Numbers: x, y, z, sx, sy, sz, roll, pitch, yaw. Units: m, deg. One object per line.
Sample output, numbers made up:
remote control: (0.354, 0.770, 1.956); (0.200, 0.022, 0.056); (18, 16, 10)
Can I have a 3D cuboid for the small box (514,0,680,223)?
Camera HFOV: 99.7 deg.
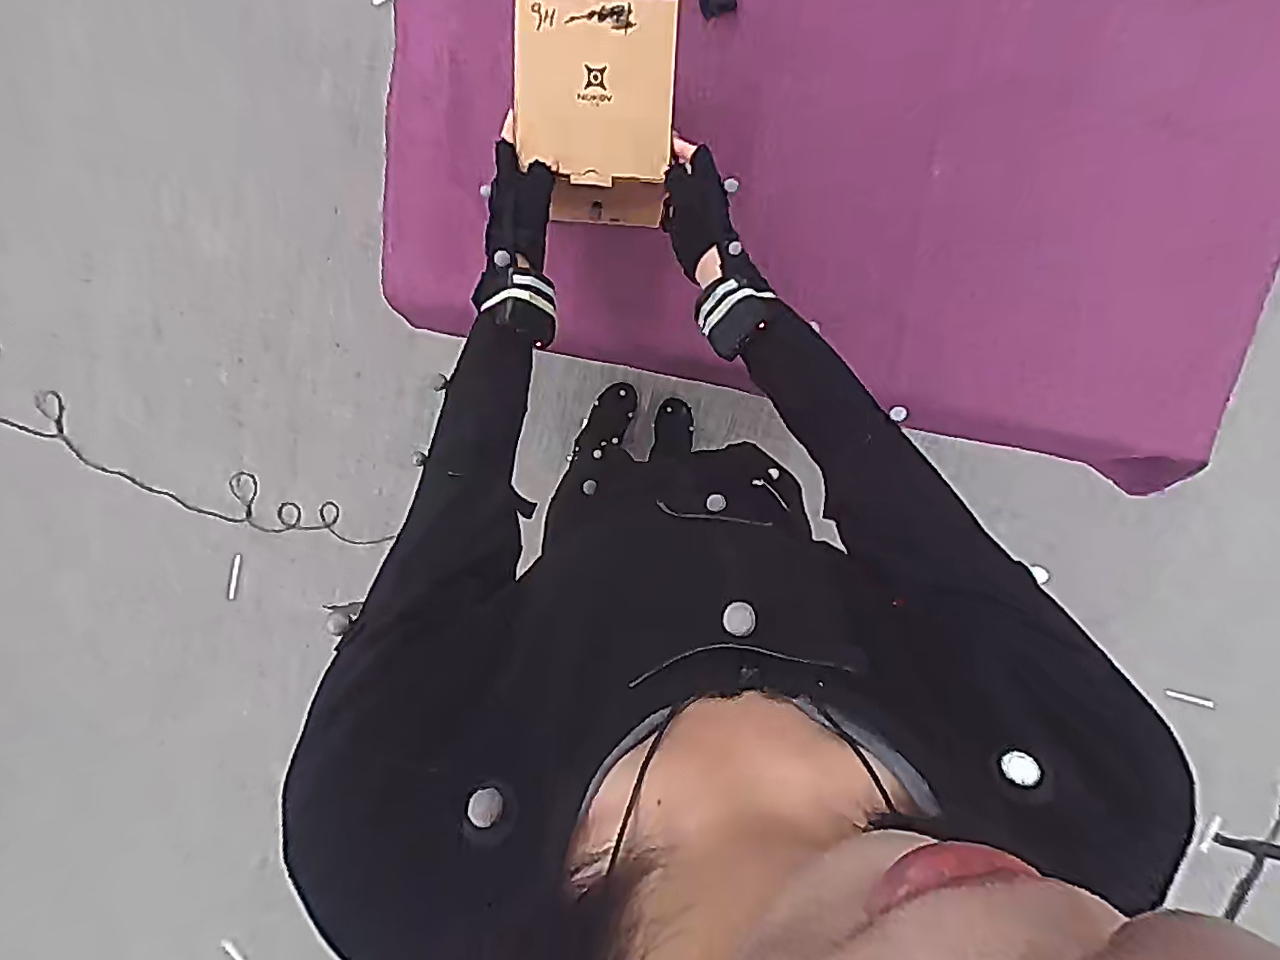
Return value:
small box: (-0.047, -0.418, 0.634); (0.168, 0.176, 0.179); (3, 100, -2)
